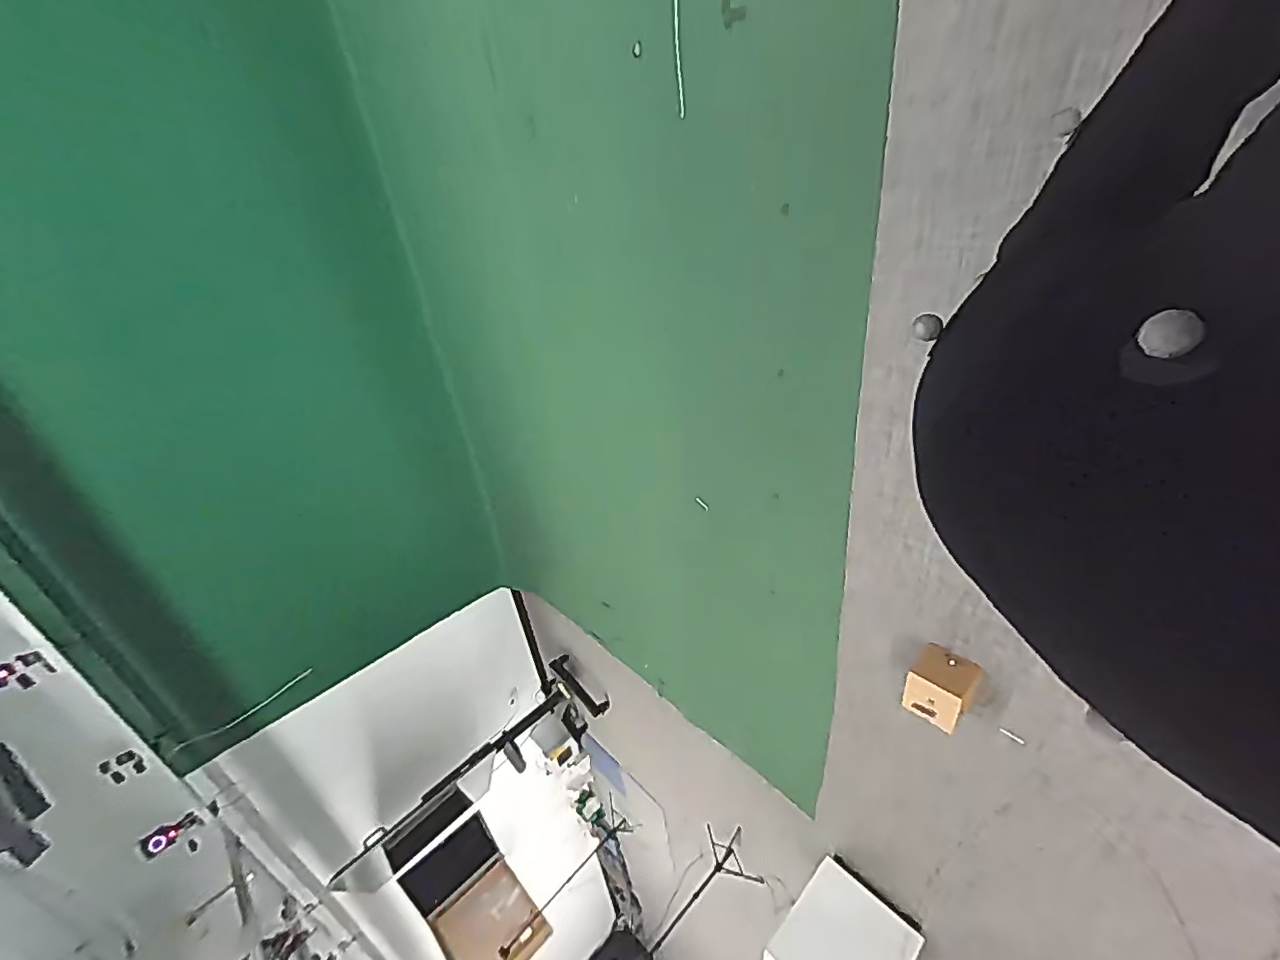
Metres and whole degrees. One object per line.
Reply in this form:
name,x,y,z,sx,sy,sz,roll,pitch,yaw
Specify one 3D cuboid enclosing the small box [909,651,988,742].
small box,1.006,0.699,1.764,0.168,0.176,0.179,24,131,43
